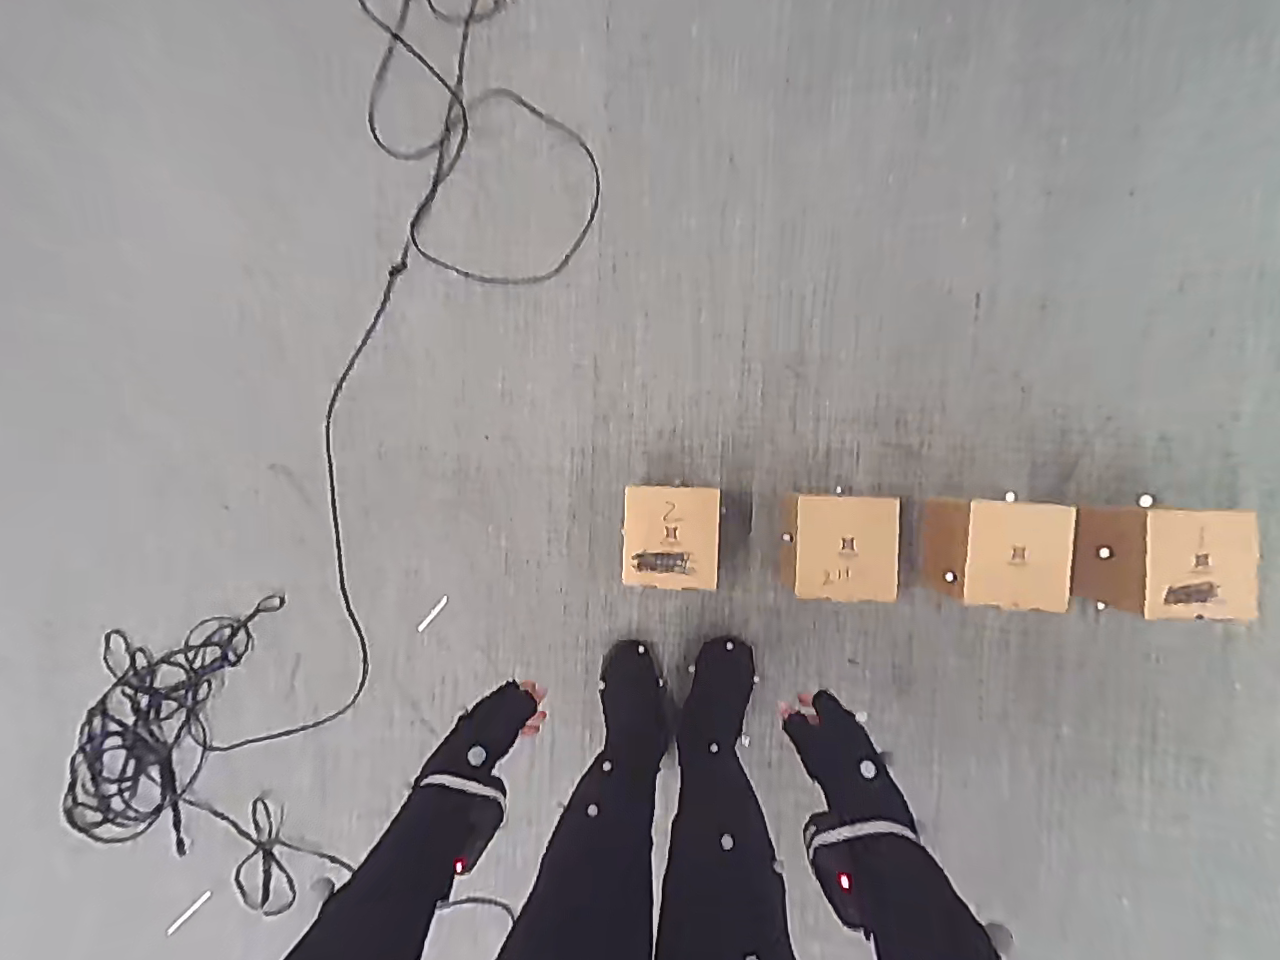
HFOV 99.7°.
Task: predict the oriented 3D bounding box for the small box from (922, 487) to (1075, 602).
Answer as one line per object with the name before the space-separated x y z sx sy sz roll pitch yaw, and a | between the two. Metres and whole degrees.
small box | 0.619 0.105 0.954 0.168 0.176 0.179 3 92 5

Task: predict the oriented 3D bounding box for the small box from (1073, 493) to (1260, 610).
small box | 0.886 0.114 0.928 0.168 0.176 0.179 0 91 5

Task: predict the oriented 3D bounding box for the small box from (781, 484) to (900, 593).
small box | 0.352 0.097 0.976 0.168 0.176 0.179 2 92 6
